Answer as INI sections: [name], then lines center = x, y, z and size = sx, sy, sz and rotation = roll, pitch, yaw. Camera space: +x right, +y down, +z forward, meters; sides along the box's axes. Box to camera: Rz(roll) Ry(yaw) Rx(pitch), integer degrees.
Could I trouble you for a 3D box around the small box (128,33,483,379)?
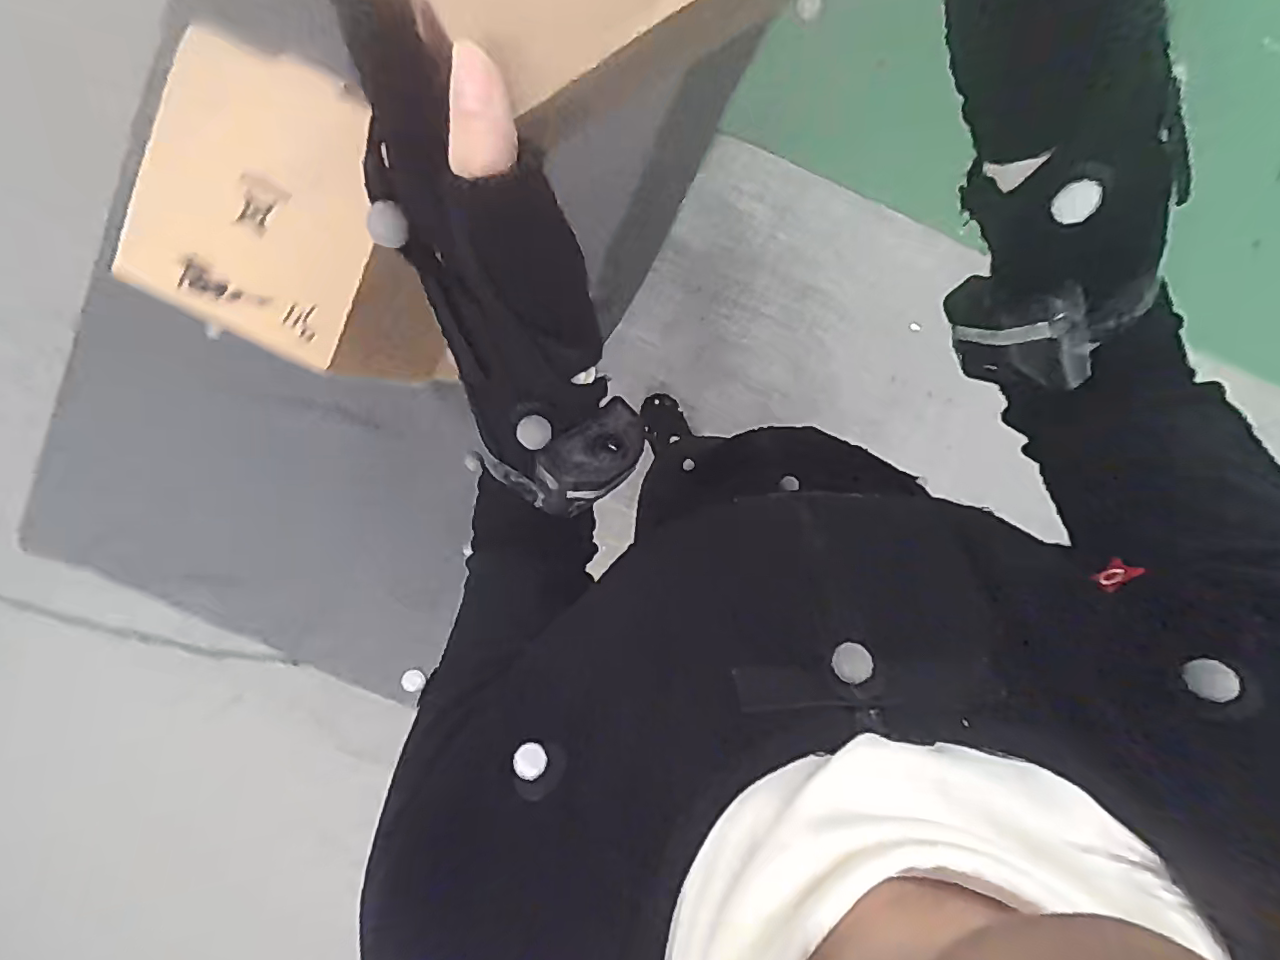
[small box]
center = -0.249, -0.197, 0.448
size = 0.168, 0.176, 0.179
rotation = 23, 98, -1
